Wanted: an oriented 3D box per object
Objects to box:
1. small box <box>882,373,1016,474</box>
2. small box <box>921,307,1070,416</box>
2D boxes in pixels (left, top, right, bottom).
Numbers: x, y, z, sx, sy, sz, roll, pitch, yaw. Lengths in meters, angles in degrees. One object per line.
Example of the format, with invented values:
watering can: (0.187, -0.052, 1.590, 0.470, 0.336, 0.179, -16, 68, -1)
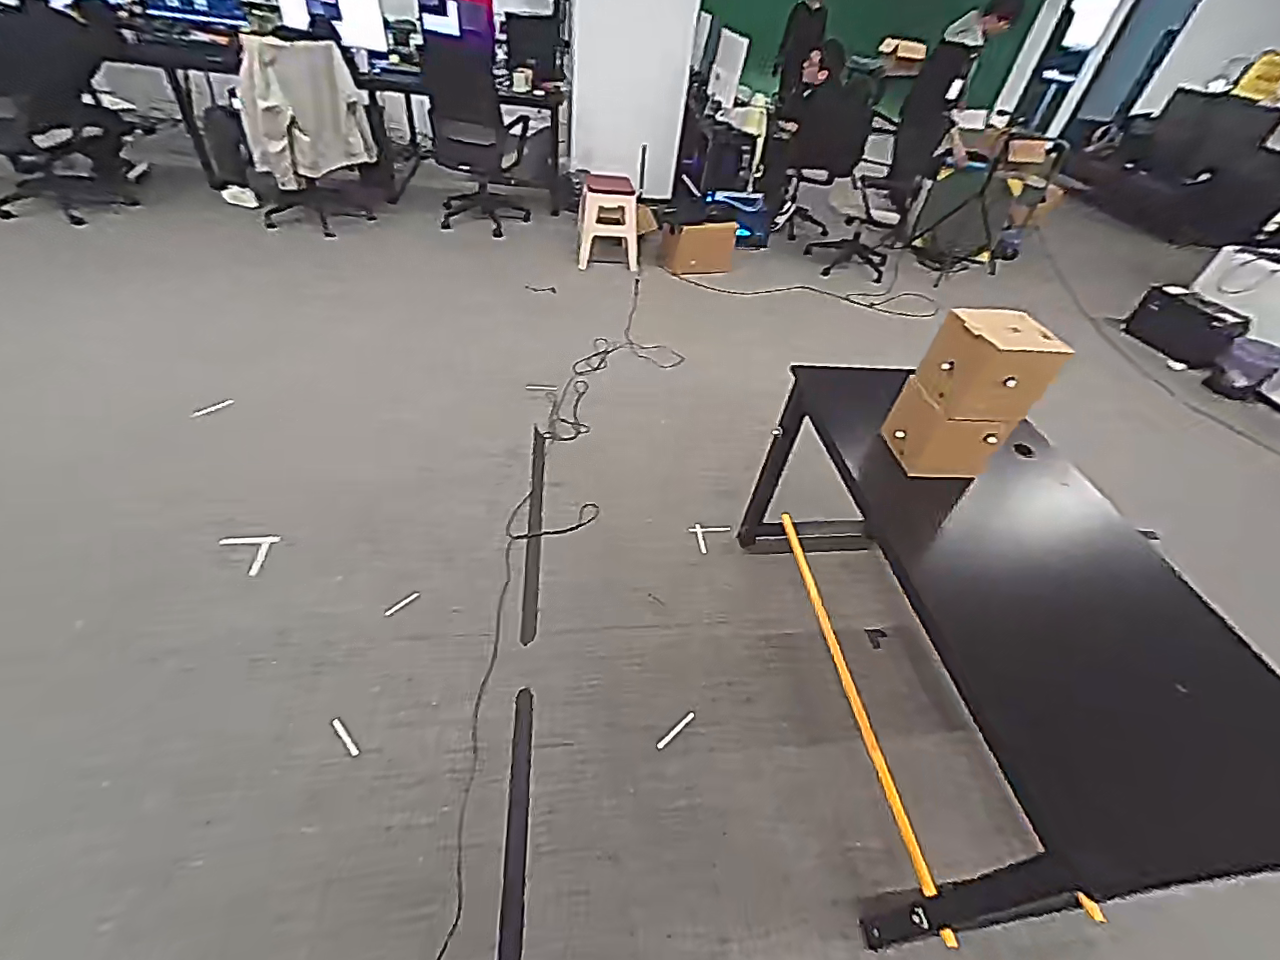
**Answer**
small box: (0.696, -0.127, 1.242, 0.179, 0.176, 0.168, 0, 44, -8)
small box: (0.723, -0.246, 1.132, 0.179, 0.176, 0.168, -2, 45, -10)
